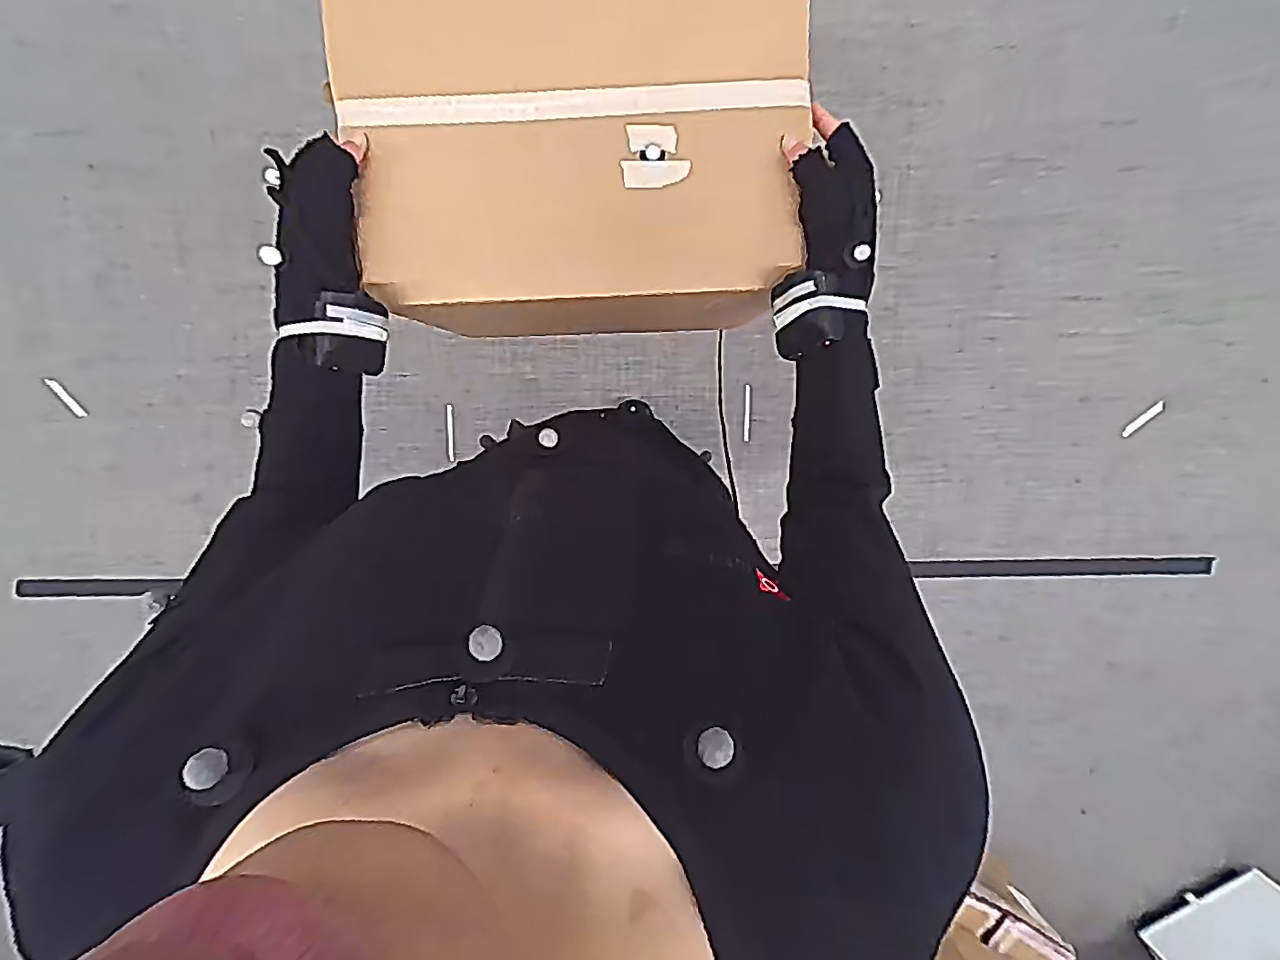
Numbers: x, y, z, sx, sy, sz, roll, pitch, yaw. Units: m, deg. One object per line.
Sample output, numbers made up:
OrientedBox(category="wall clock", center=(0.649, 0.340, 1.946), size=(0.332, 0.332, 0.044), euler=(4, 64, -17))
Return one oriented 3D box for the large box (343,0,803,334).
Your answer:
OrientedBox(category="large box", center=(-0.058, -0.355, 0.630), size=(0.408, 0.320, 0.320), euler=(-3, 100, -1))
